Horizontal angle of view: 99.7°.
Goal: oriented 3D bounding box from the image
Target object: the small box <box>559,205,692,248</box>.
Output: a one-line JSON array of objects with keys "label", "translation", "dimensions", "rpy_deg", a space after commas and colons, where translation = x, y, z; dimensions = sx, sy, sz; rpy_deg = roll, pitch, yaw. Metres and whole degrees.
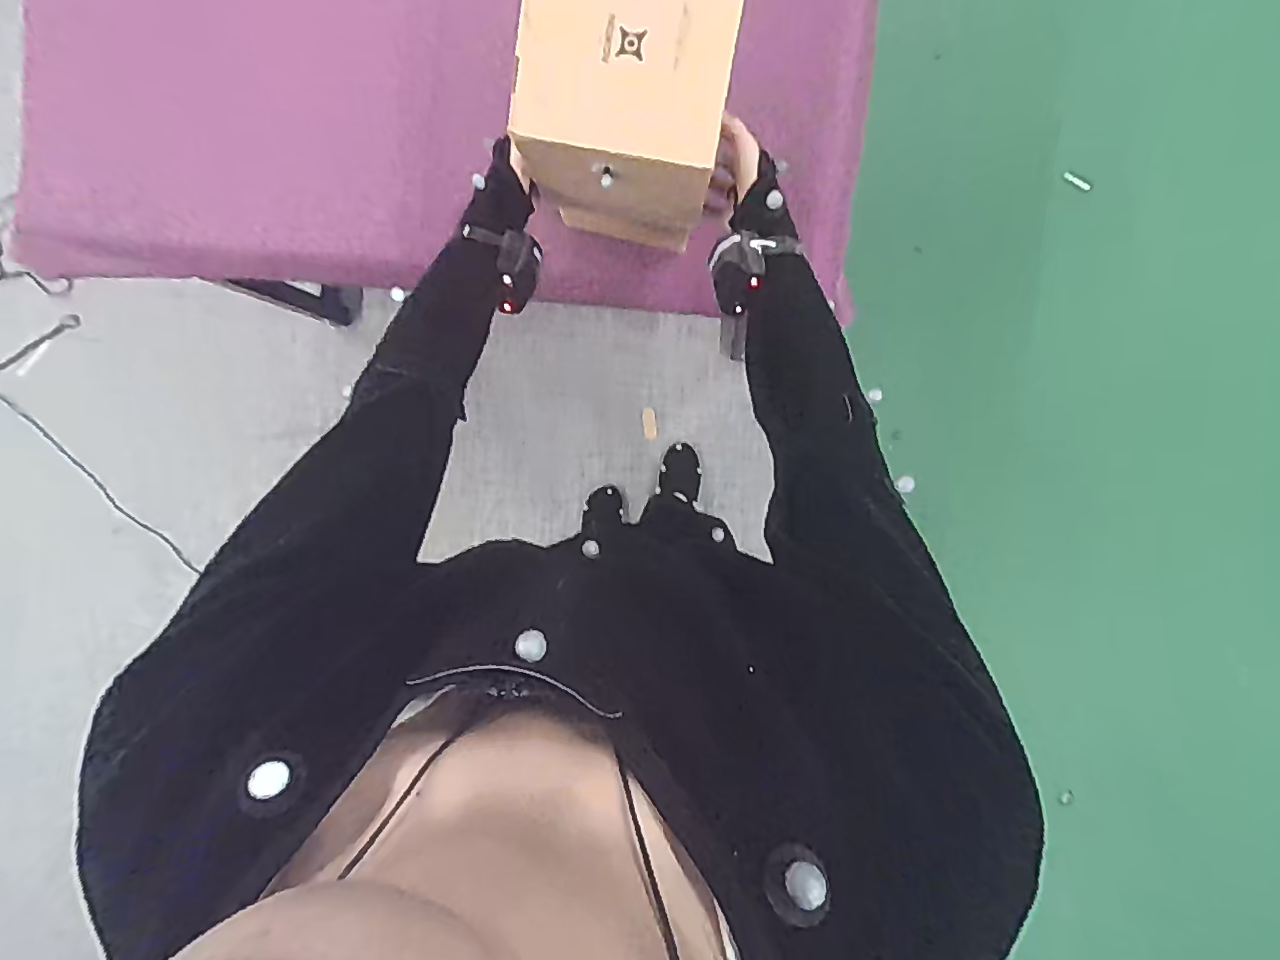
[{"label": "small box", "translation": [-0.004, -0.407, 0.671], "dimensions": [0.179, 0.176, 0.168], "rpy_deg": [14, 96, 1]}]

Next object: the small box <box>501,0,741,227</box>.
[{"label": "small box", "translation": [-0.012, -0.360, 0.511], "dimensions": [0.179, 0.176, 0.168], "rpy_deg": [11, 98, 0]}]
